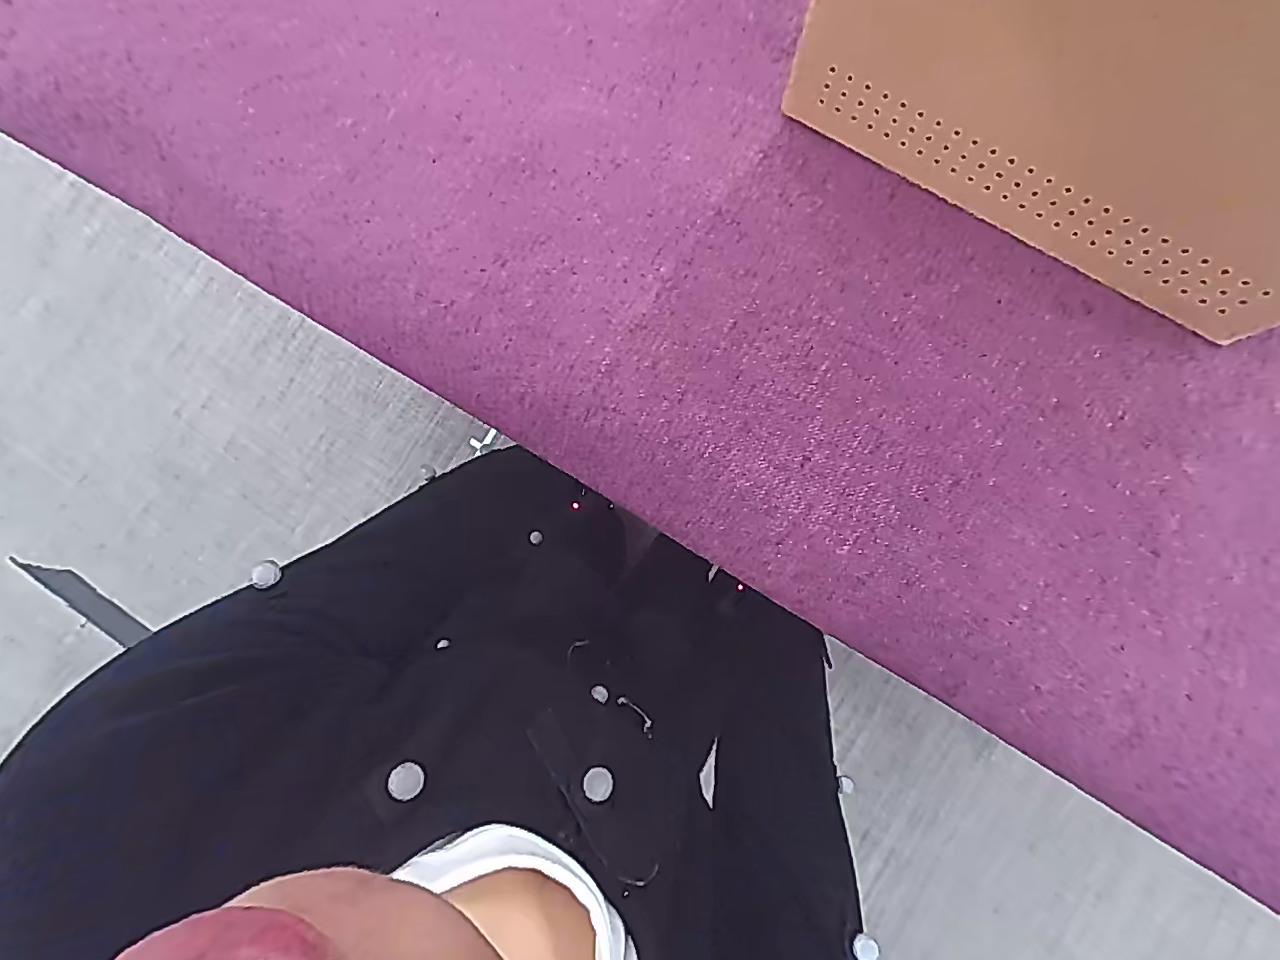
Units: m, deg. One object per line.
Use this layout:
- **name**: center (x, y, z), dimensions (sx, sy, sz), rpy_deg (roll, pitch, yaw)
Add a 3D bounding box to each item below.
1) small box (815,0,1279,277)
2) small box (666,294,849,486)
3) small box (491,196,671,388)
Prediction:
- **small box**: center (0.171, -0.174, 0.115), dimensions (0.179, 0.176, 0.168), rpy_deg (32, 84, 6)
- **small box**: center (0.158, -0.122, 0.760), dimensions (0.179, 0.176, 0.168), rpy_deg (31, 48, 5)
- **small box**: center (-0.071, -0.247, 0.760), dimensions (0.179, 0.176, 0.168), rpy_deg (31, 87, 5)
